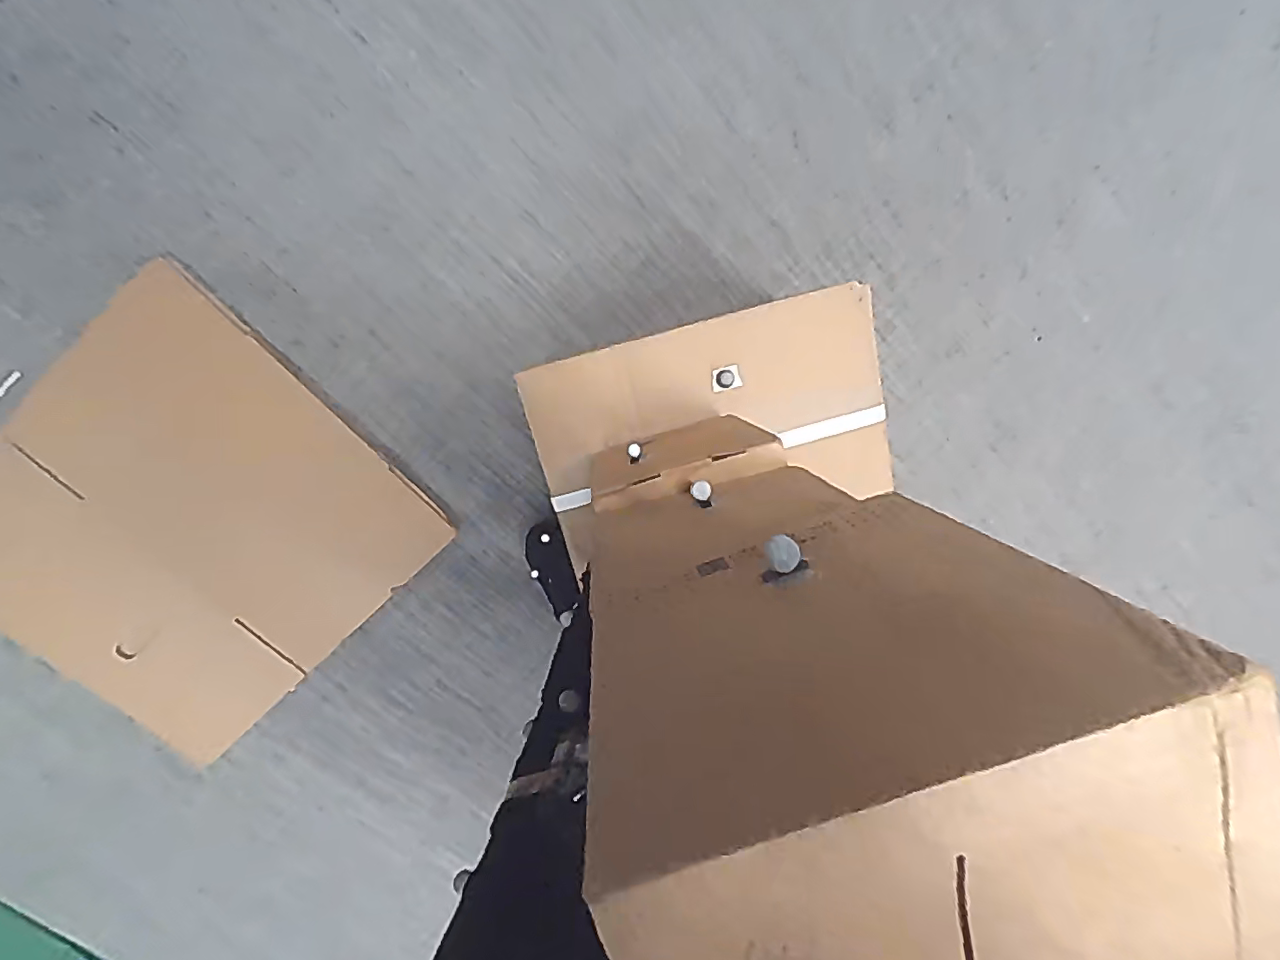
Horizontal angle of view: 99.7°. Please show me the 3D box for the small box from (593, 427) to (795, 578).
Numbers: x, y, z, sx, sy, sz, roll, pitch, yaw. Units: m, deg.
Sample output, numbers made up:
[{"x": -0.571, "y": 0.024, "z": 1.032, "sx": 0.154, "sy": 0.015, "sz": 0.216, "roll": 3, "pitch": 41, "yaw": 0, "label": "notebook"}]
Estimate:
[{"x": 0.055, "y": 0.053, "z": 0.543, "sx": 0.168, "sy": 0.176, "sz": 0.179, "roll": -18, "pitch": 105, "yaw": 2, "label": "small box"}]
